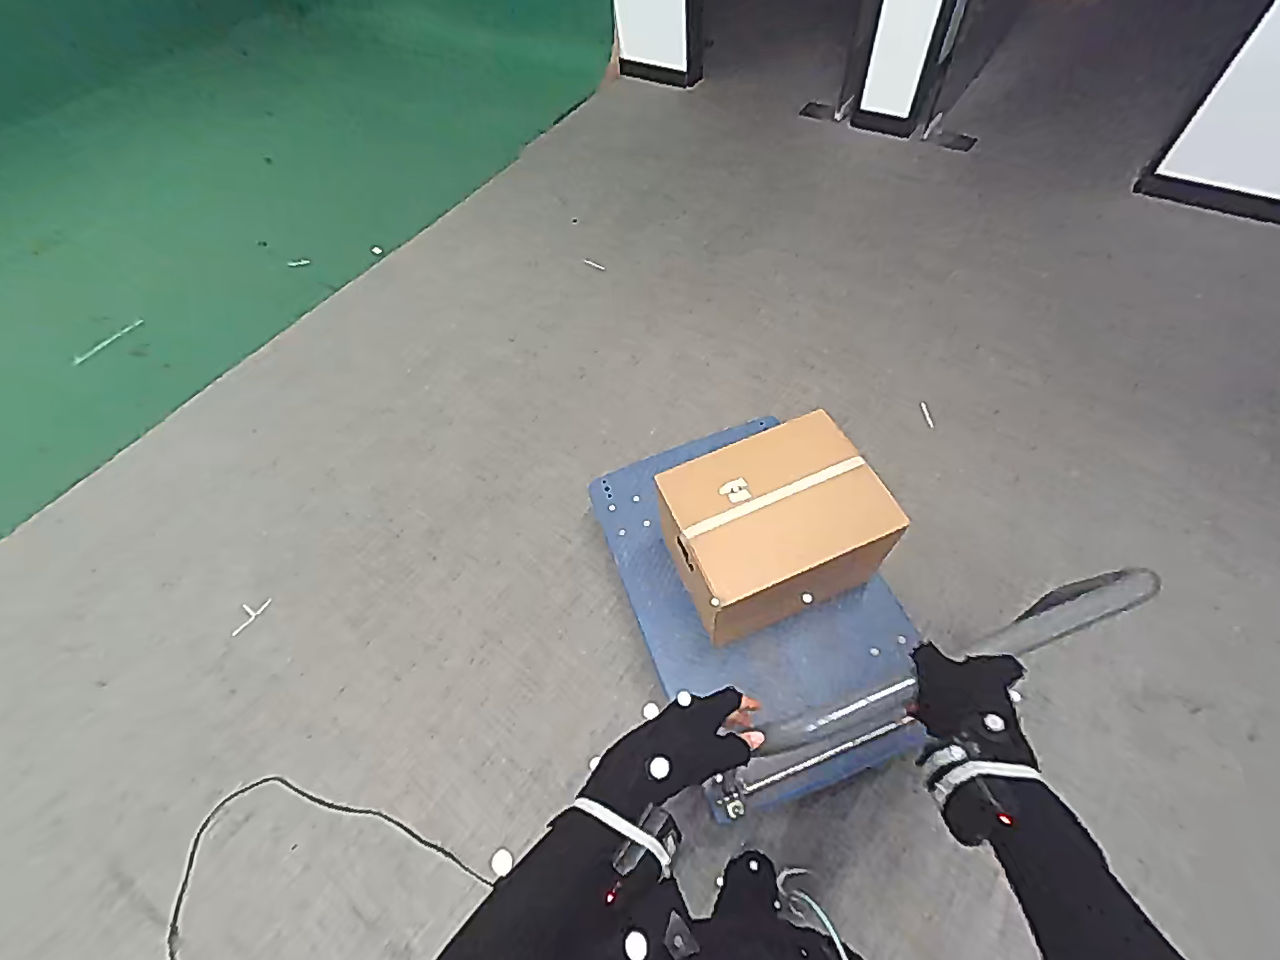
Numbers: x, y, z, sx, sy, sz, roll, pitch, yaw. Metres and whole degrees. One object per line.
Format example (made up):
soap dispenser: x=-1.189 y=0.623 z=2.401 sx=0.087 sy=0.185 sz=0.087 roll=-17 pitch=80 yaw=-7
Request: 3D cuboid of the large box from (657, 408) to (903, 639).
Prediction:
large box: x=0.289 y=0.107 z=1.220 sx=0.408 sy=0.320 sz=0.320 roll=-23 pitch=60 yaw=-6
